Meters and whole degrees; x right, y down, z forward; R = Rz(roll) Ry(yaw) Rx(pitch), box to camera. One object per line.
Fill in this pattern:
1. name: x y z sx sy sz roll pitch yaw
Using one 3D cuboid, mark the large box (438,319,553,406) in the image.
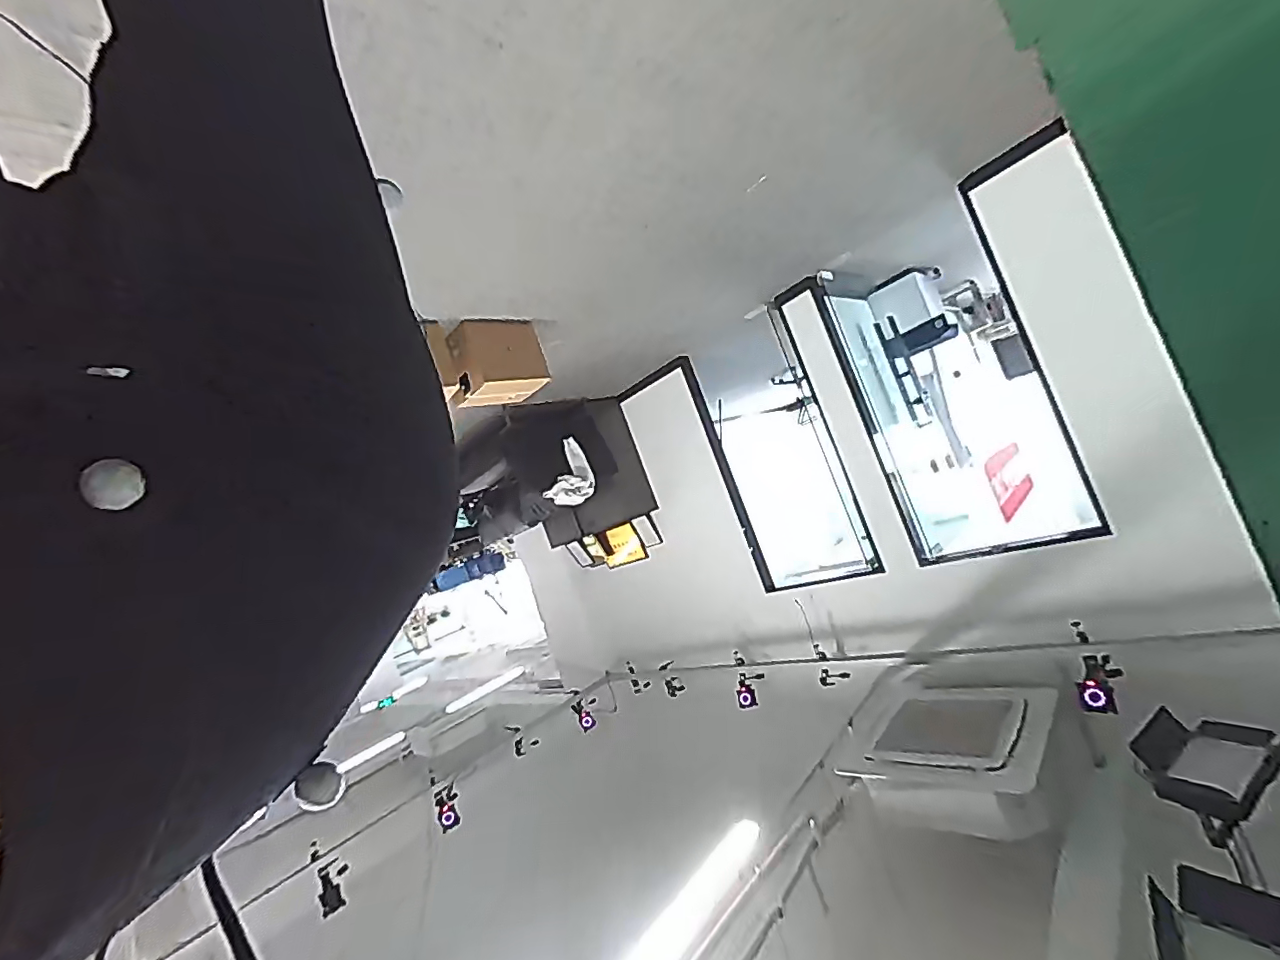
1. large box: -0.724 -0.590 2.699 0.320 0.320 0.408 -22 177 42
